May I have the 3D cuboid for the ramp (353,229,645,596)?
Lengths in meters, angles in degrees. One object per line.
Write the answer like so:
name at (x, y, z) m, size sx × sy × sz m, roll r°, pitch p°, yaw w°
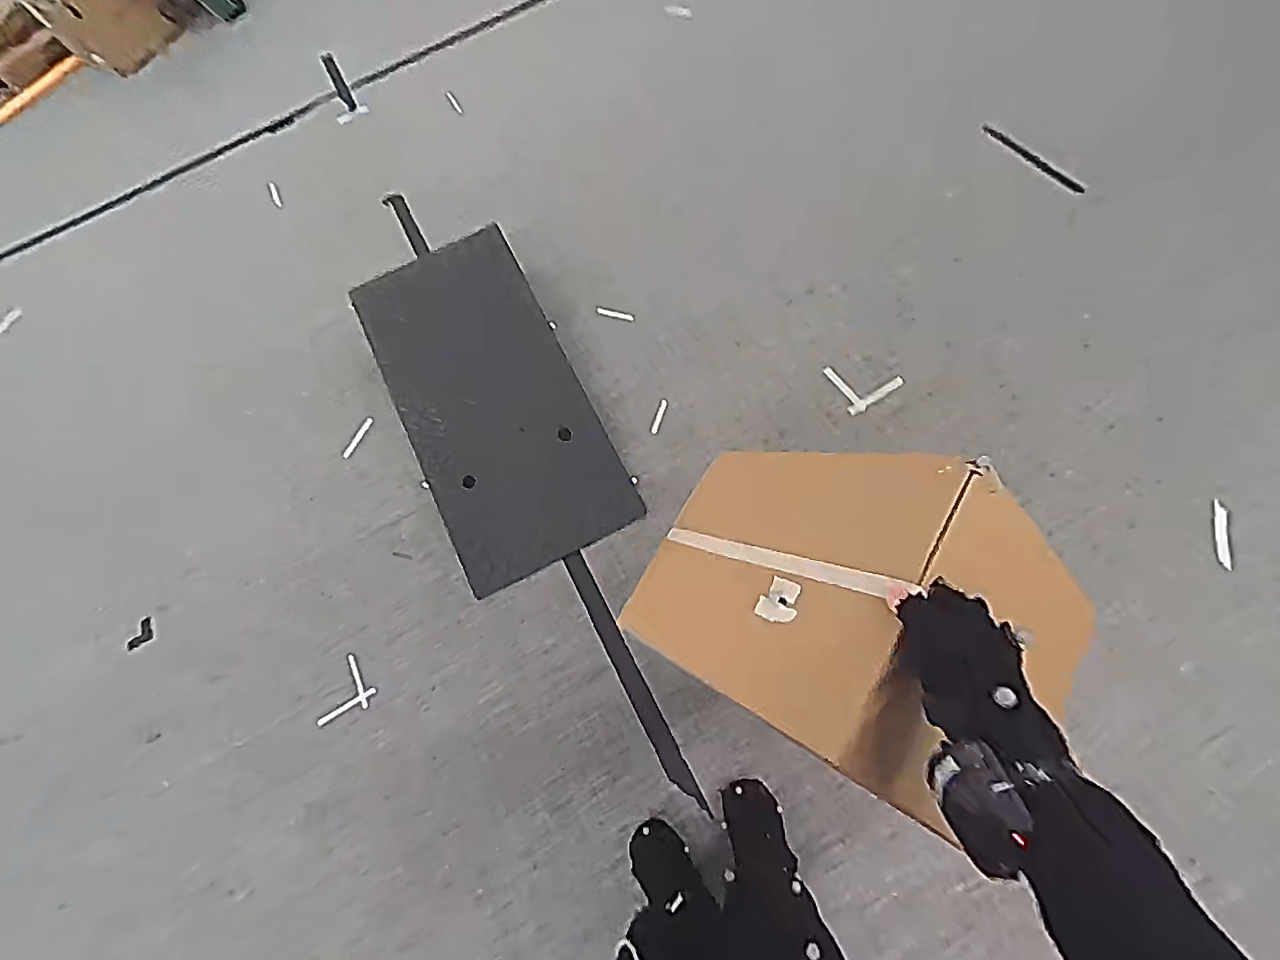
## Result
ramp at (-0.416, -0.232, 1.519) m, size 0.509 × 0.206 × 0.991 m, roll -28°, pitch 66°, yaw -5°
